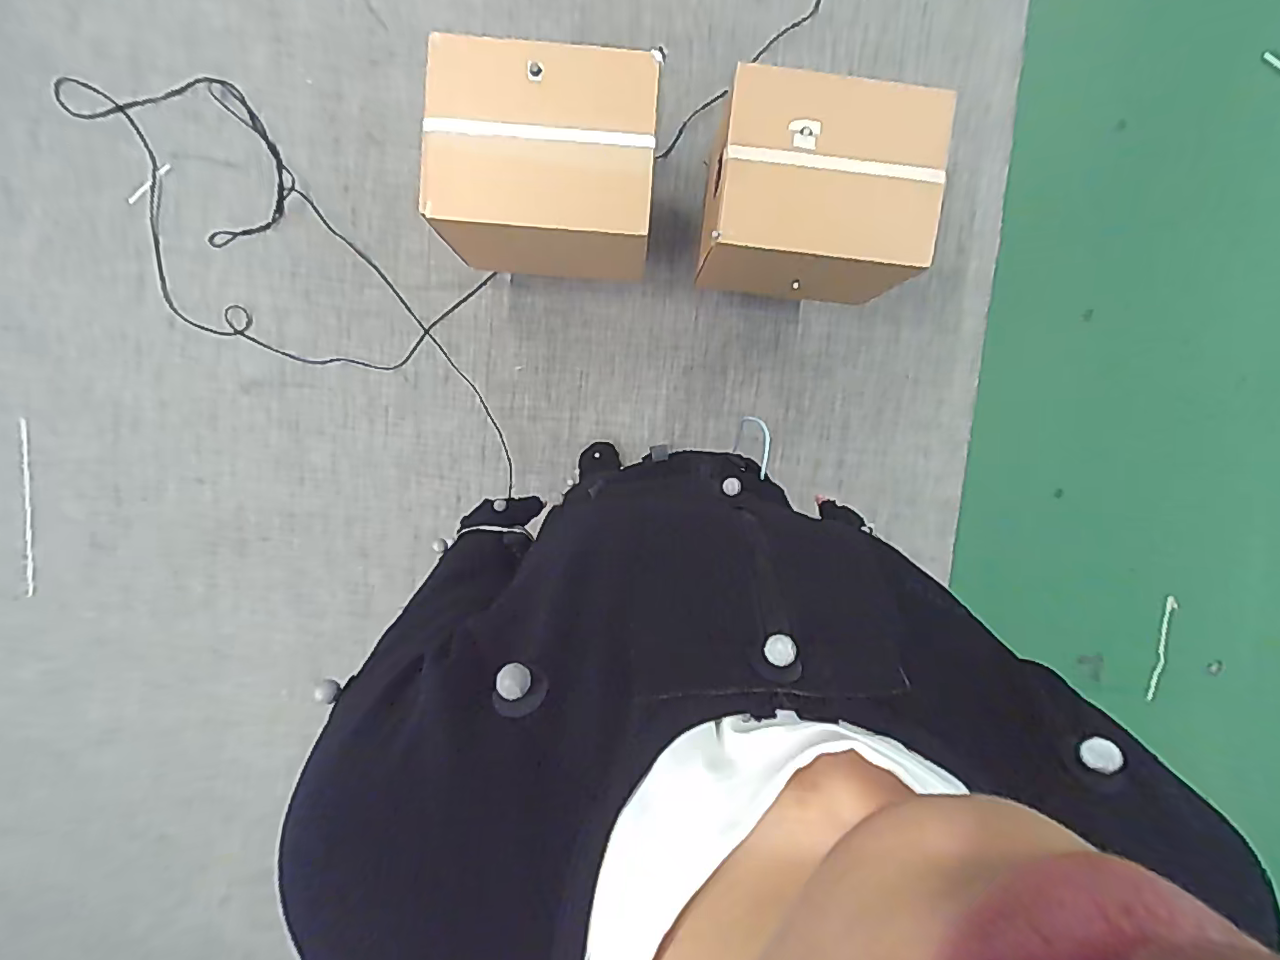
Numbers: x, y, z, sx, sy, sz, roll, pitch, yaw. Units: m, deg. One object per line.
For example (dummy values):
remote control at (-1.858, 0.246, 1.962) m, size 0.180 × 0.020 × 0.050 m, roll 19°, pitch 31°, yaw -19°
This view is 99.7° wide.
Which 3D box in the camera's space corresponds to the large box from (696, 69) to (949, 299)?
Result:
large box at (0.350, -0.584, 1.137) m, size 0.408 × 0.320 × 0.320 m, roll 6°, pitch 95°, yaw -2°
